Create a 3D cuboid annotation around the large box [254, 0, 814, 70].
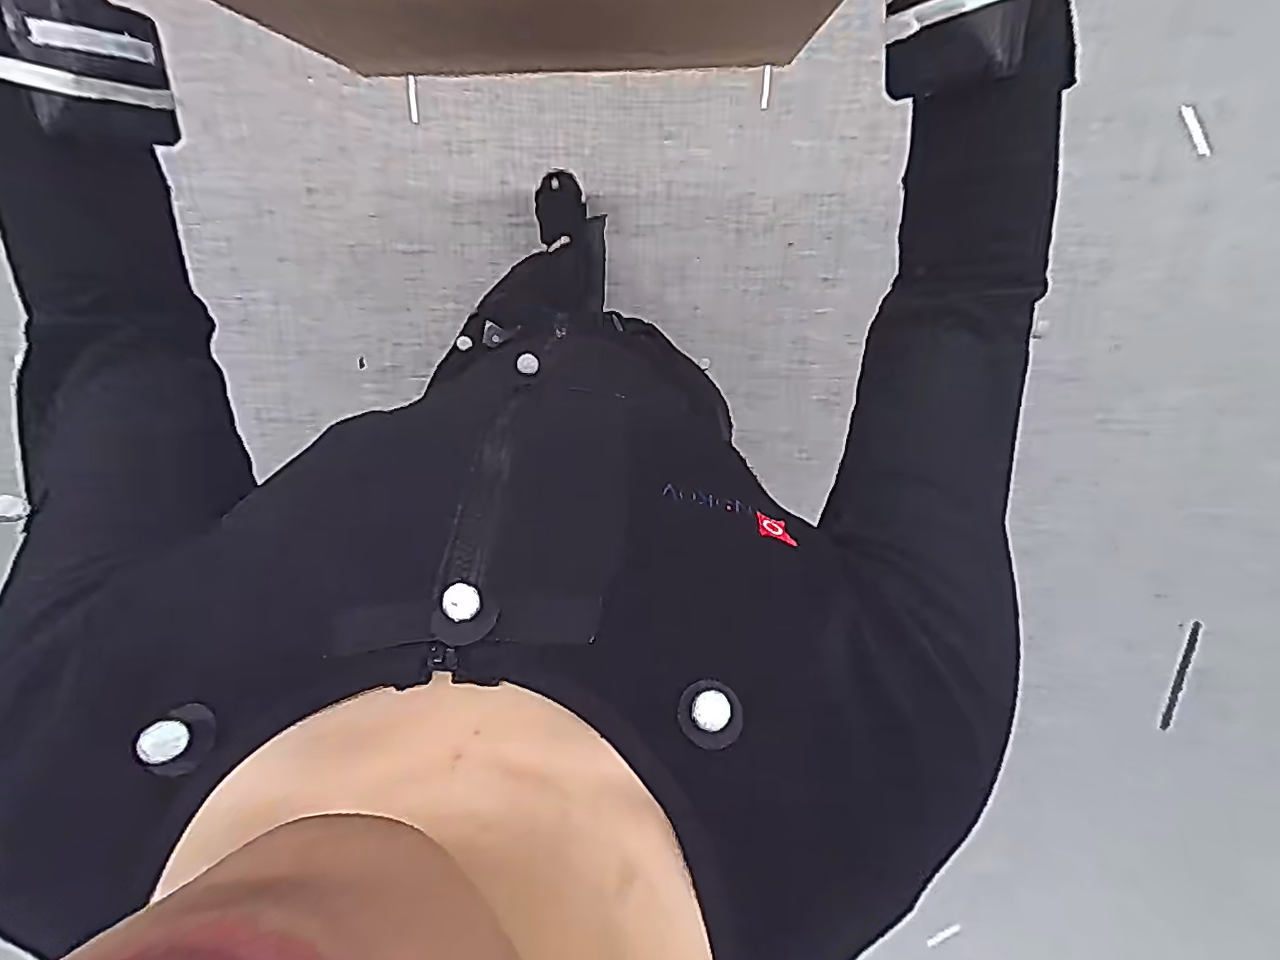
[{"bbox_3d":[-0.070,-0.469,0.307,0.408,0.320,0.320,-1,116,2],"label":"large box"}]
